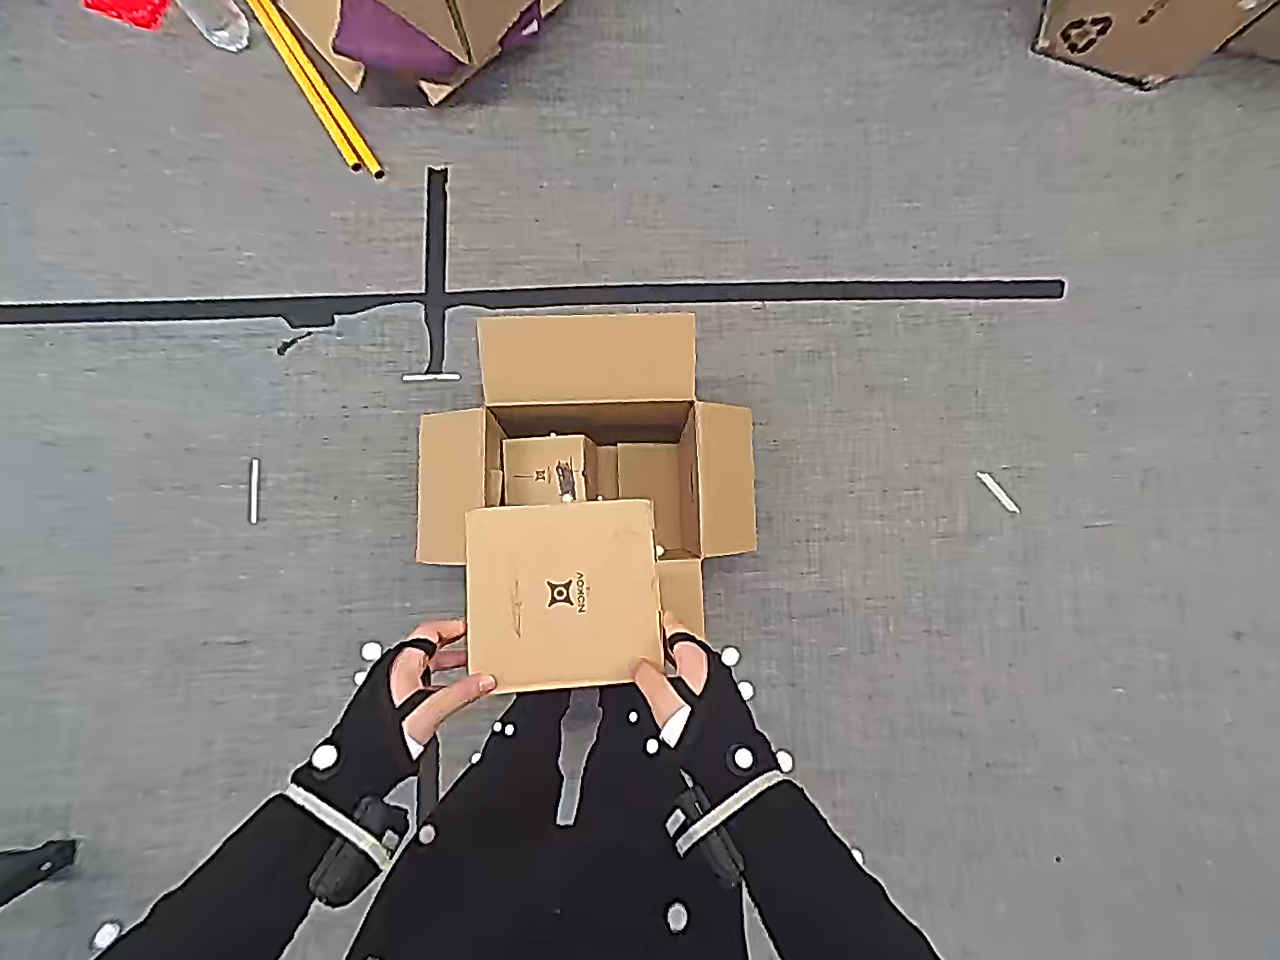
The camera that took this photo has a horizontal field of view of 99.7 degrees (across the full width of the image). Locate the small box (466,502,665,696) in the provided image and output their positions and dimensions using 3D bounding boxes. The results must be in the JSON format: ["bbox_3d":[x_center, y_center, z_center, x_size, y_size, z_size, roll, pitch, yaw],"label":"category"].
[{"bbox_3d":[-0.075,0.120,0.570,0.179,0.176,0.168,-4,78,-4],"label":"small box"}]
